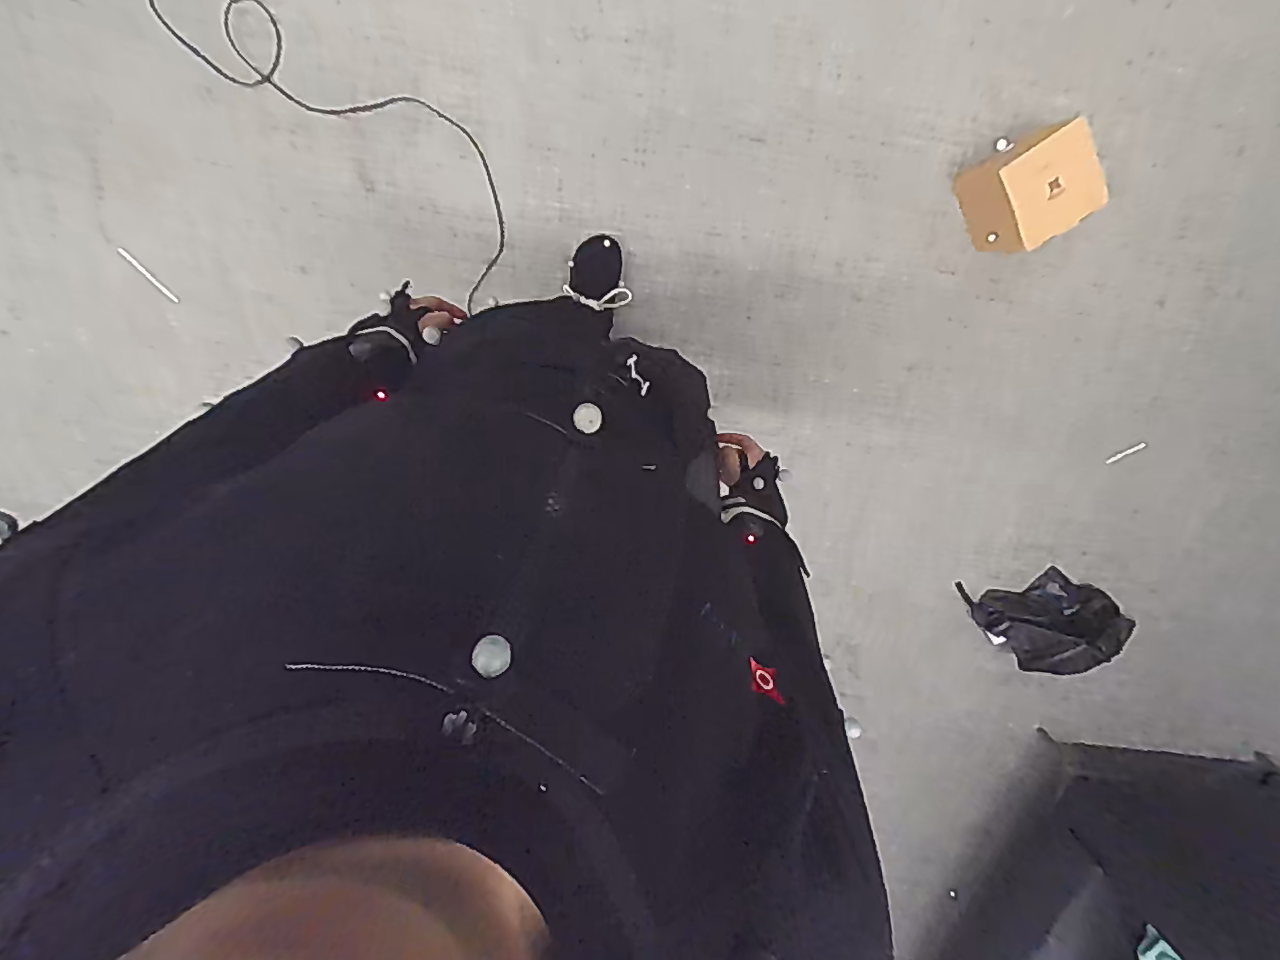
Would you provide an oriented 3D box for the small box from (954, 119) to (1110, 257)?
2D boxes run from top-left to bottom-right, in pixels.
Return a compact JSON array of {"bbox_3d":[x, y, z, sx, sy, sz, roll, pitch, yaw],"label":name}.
[{"bbox_3d":[0.776,-0.575,1.085,0.168,0.176,0.179,-33,110,12],"label":"small box"}]
